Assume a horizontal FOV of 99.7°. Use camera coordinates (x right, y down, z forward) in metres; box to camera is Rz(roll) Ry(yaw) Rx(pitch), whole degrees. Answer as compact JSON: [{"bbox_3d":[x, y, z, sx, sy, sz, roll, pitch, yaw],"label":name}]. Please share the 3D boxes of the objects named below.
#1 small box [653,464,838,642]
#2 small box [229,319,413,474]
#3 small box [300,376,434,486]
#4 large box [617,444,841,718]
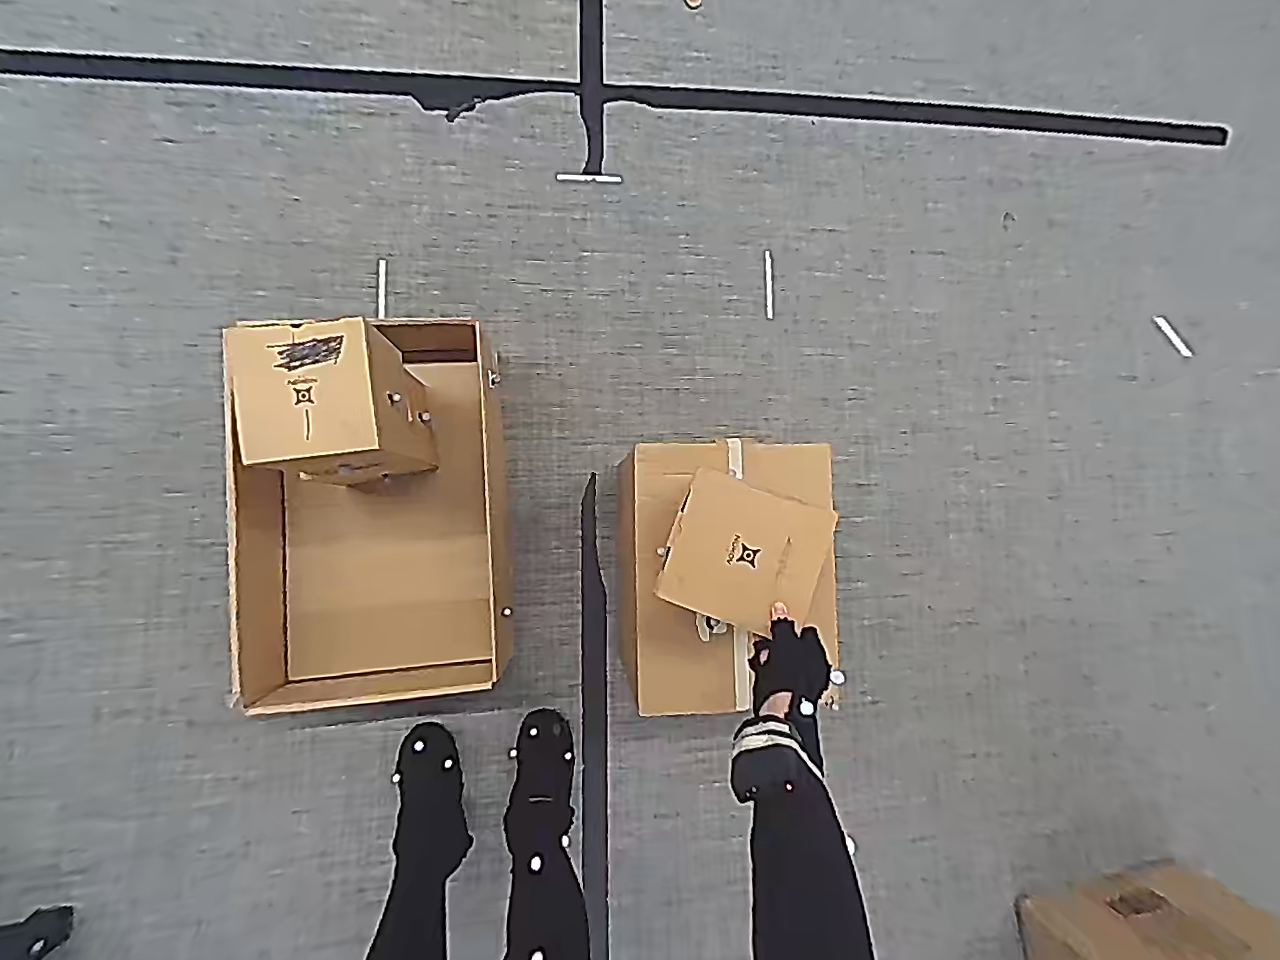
[{"bbox_3d":[0.130,0.090,0.705,0.179,0.176,0.168,18,87,7],"label":"small box"},{"bbox_3d":[-0.435,-0.109,0.762,0.168,0.176,0.179,-8,88,-8],"label":"small box"},{"bbox_3d":[-0.464,-0.087,0.924,0.179,0.176,0.168,-12,88,-9],"label":"small box"},{"bbox_3d":[0.131,0.154,0.964,0.320,0.320,0.408,-1,87,-6],"label":"large box"}]
